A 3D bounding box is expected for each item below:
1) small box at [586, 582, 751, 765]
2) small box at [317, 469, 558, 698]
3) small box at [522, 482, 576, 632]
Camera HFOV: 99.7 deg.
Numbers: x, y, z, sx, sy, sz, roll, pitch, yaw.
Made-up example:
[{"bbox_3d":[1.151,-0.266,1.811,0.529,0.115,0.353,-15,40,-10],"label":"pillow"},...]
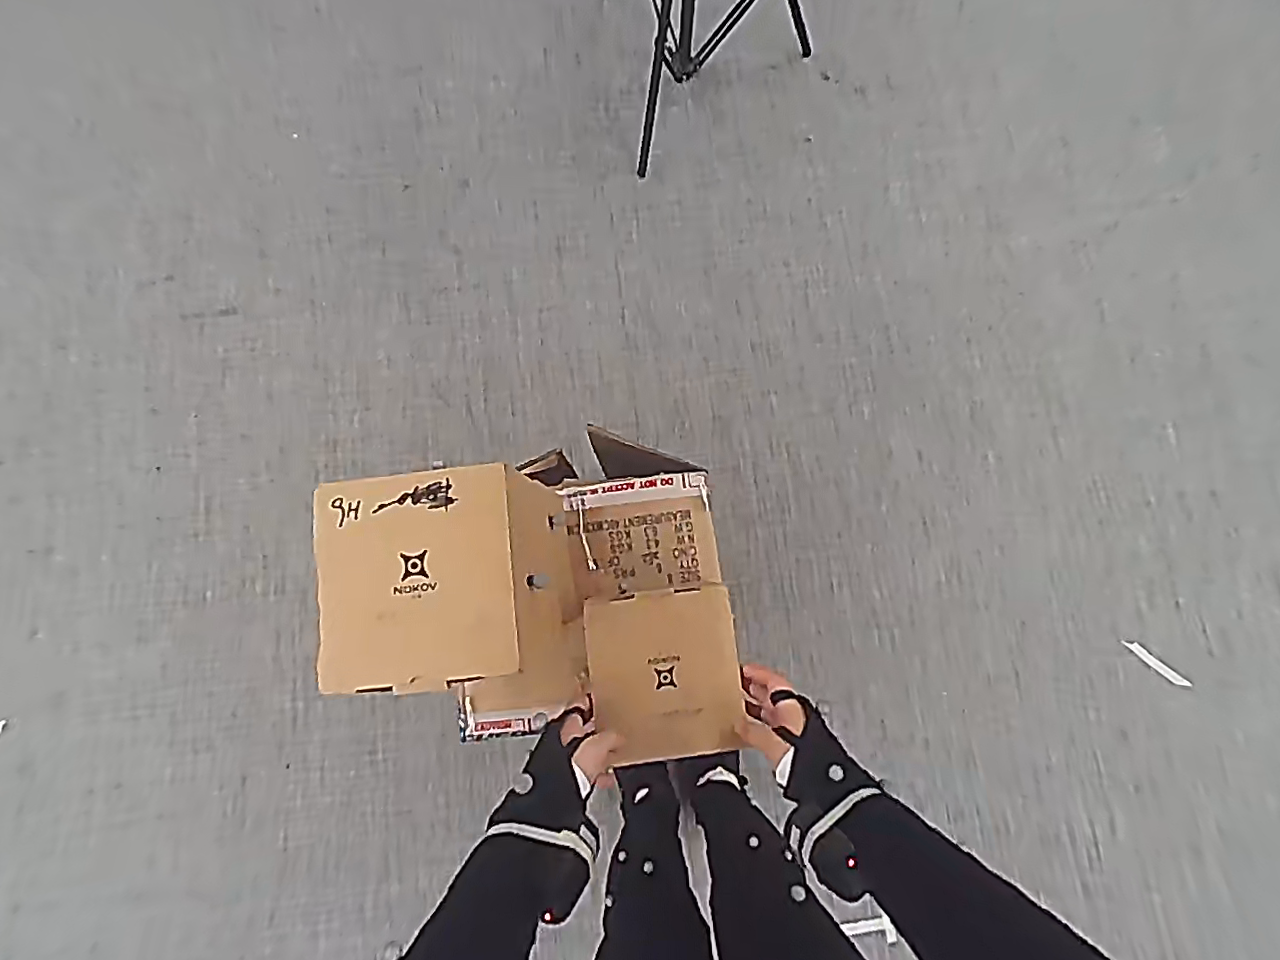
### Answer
[{"bbox_3d":[0.028,0.224,0.673,0.168,0.176,0.179,-8,82,-1],"label":"small box"},{"bbox_3d":[-0.181,0.094,0.528,0.168,0.176,0.179,-7,82,1],"label":"small box"},{"bbox_3d":[-0.182,0.110,0.692,0.168,0.176,0.179,-9,82,1],"label":"small box"}]
